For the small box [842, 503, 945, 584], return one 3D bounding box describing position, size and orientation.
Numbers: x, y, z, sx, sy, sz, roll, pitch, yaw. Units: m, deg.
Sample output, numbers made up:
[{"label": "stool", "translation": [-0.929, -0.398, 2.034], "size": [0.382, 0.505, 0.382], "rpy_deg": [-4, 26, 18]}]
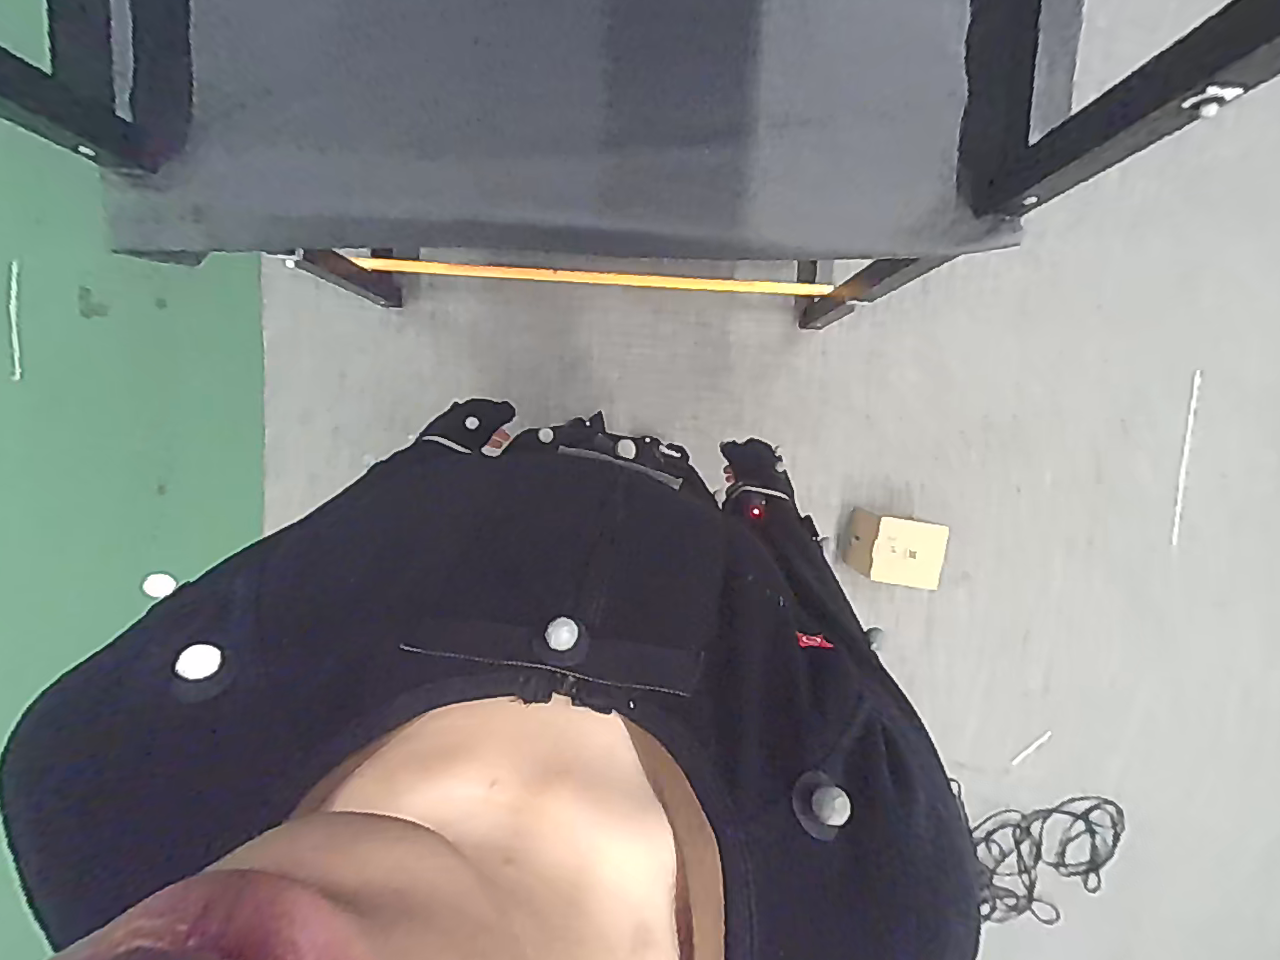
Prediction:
[{"label": "small box", "translation": [0.660, 0.160, 1.426], "size": [0.179, 0.176, 0.168], "rpy_deg": [9, 96, -1]}]
